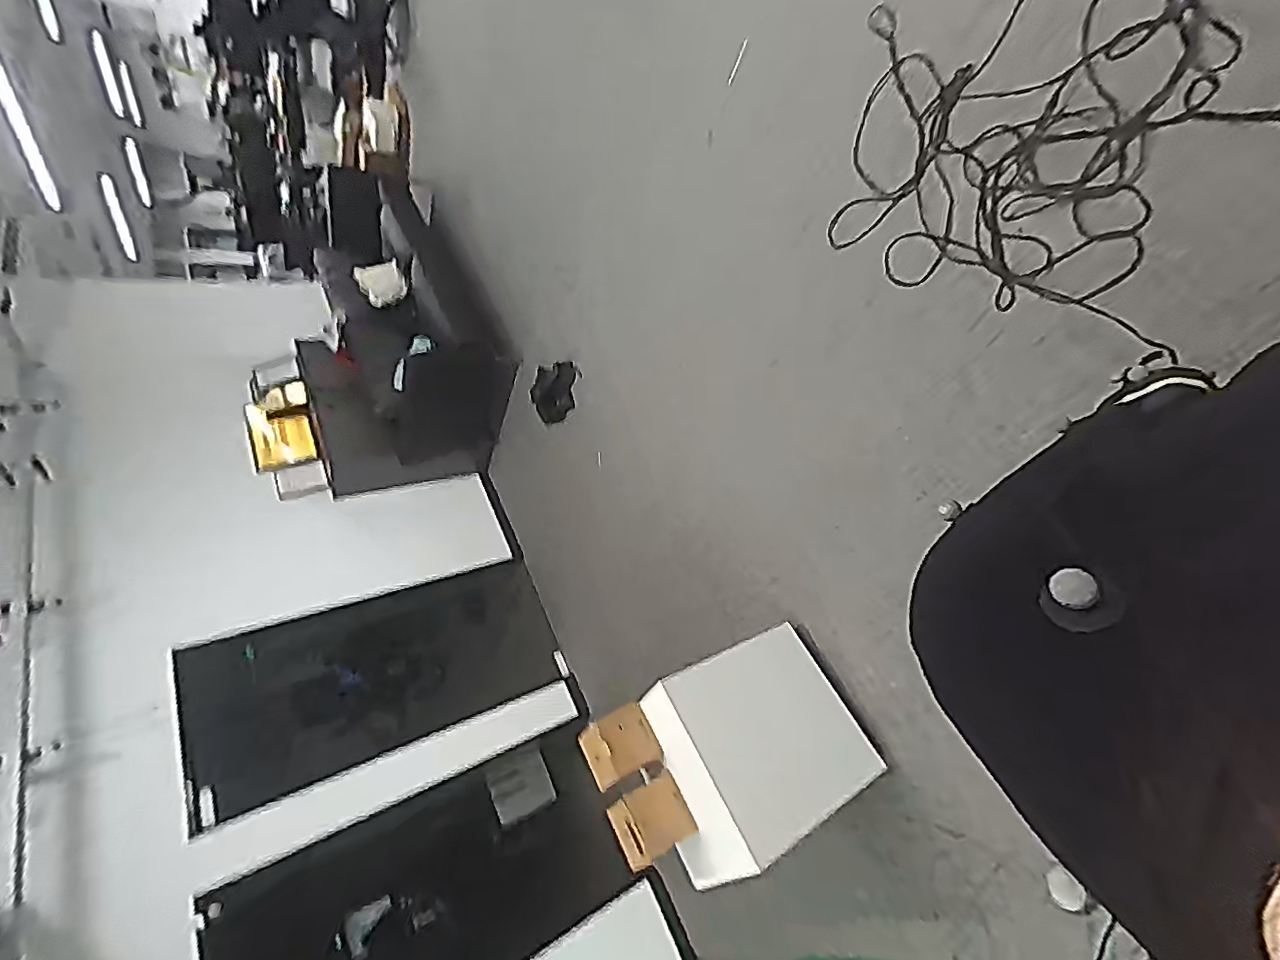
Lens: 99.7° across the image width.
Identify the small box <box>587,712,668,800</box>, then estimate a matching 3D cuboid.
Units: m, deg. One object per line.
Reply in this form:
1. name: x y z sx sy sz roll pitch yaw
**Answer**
1. small box: -0.036 0.843 1.660 0.168 0.176 0.179 58 142 28
